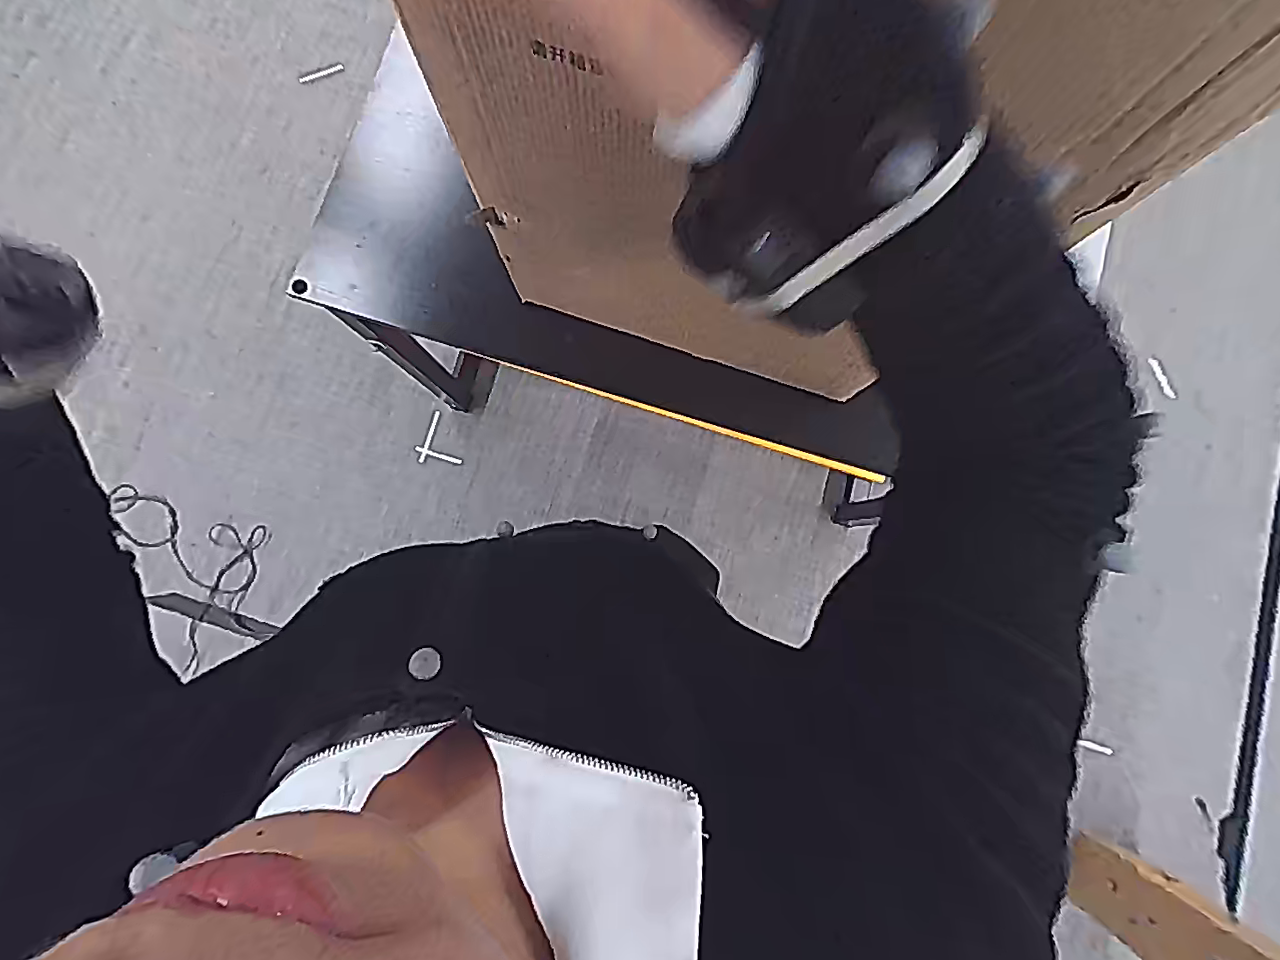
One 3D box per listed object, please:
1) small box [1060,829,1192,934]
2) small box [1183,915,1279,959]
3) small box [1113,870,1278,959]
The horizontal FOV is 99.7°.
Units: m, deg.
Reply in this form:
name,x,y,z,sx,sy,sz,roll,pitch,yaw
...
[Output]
name,x,y,z,sx,sy,sz,roll,pitch,yaw
small box,1.218,1.030,1.367,0.168,0.176,0.179,21,84,1
small box,1.216,0.997,1.042,0.179,0.176,0.168,21,83,2
small box,1.225,1.020,1.203,0.179,0.176,0.168,21,83,1
